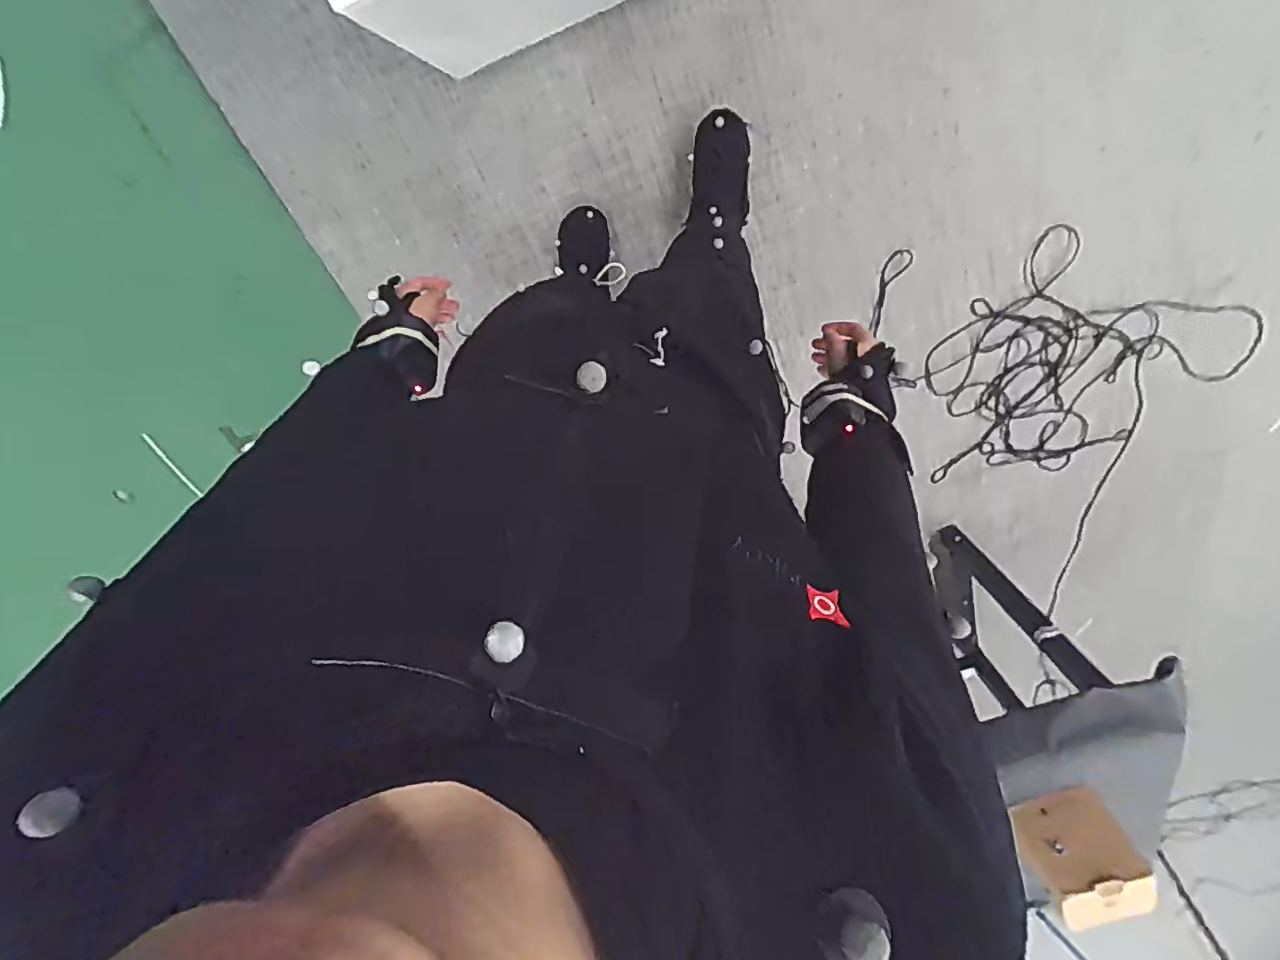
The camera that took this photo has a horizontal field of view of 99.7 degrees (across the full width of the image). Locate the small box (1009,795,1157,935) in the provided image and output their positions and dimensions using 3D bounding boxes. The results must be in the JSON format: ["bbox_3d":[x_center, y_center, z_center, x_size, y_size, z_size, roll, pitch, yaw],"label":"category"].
[{"bbox_3d":[0.871,0.759,1.078,0.168,0.176,0.179,-24,121,11],"label":"small box"}]
